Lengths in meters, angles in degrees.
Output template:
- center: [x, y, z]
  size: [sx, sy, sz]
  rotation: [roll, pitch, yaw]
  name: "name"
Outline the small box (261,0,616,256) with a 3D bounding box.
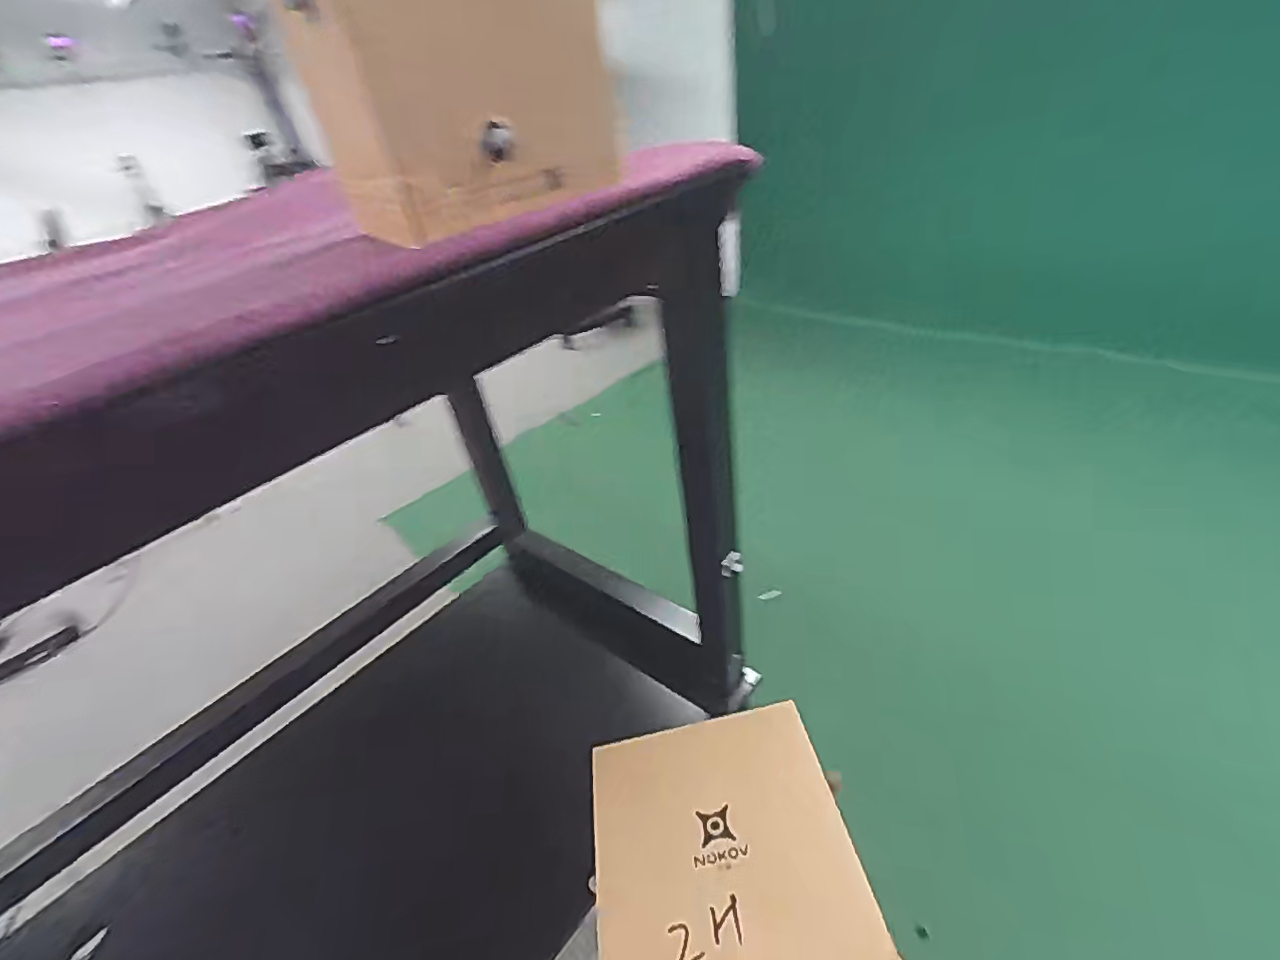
- center: [-0.138, -0.273, 0.390]
  size: [0.168, 0.176, 0.179]
  rotation: [-31, 42, -26]
  name: "small box"
